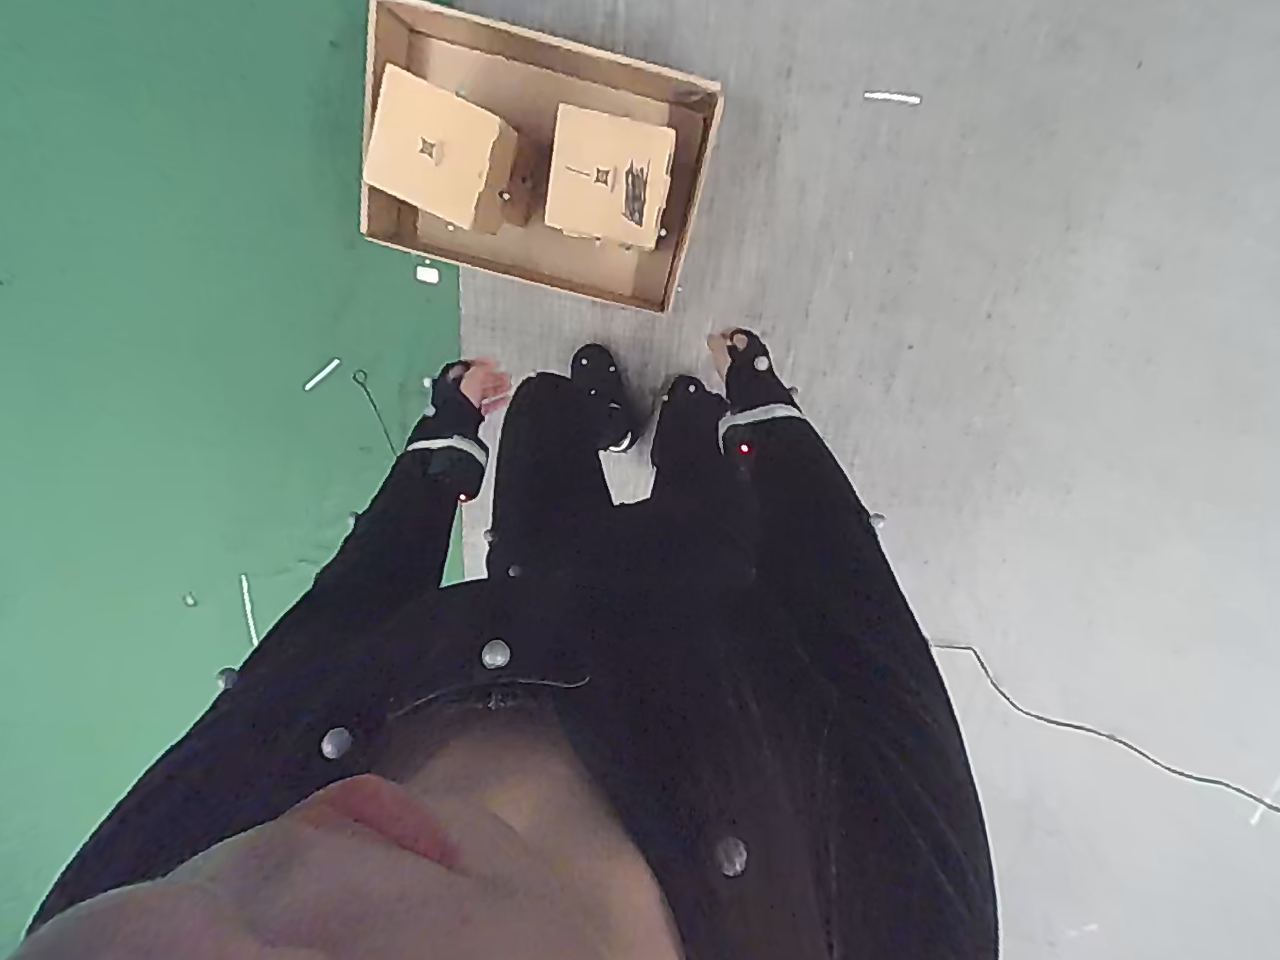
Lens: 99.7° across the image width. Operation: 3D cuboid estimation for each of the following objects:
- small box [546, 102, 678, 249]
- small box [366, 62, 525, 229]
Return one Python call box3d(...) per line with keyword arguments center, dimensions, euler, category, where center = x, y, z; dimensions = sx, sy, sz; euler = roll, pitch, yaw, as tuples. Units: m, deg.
box3d(center=(-0.041, -0.485, 0.886), dimensions=(0.179, 0.176, 0.168), euler=(13, 112, -1), category="small box")
box3d(center=(-0.308, -0.527, 0.885), dimensions=(0.179, 0.176, 0.168), euler=(22, 111, -9), category="small box")
